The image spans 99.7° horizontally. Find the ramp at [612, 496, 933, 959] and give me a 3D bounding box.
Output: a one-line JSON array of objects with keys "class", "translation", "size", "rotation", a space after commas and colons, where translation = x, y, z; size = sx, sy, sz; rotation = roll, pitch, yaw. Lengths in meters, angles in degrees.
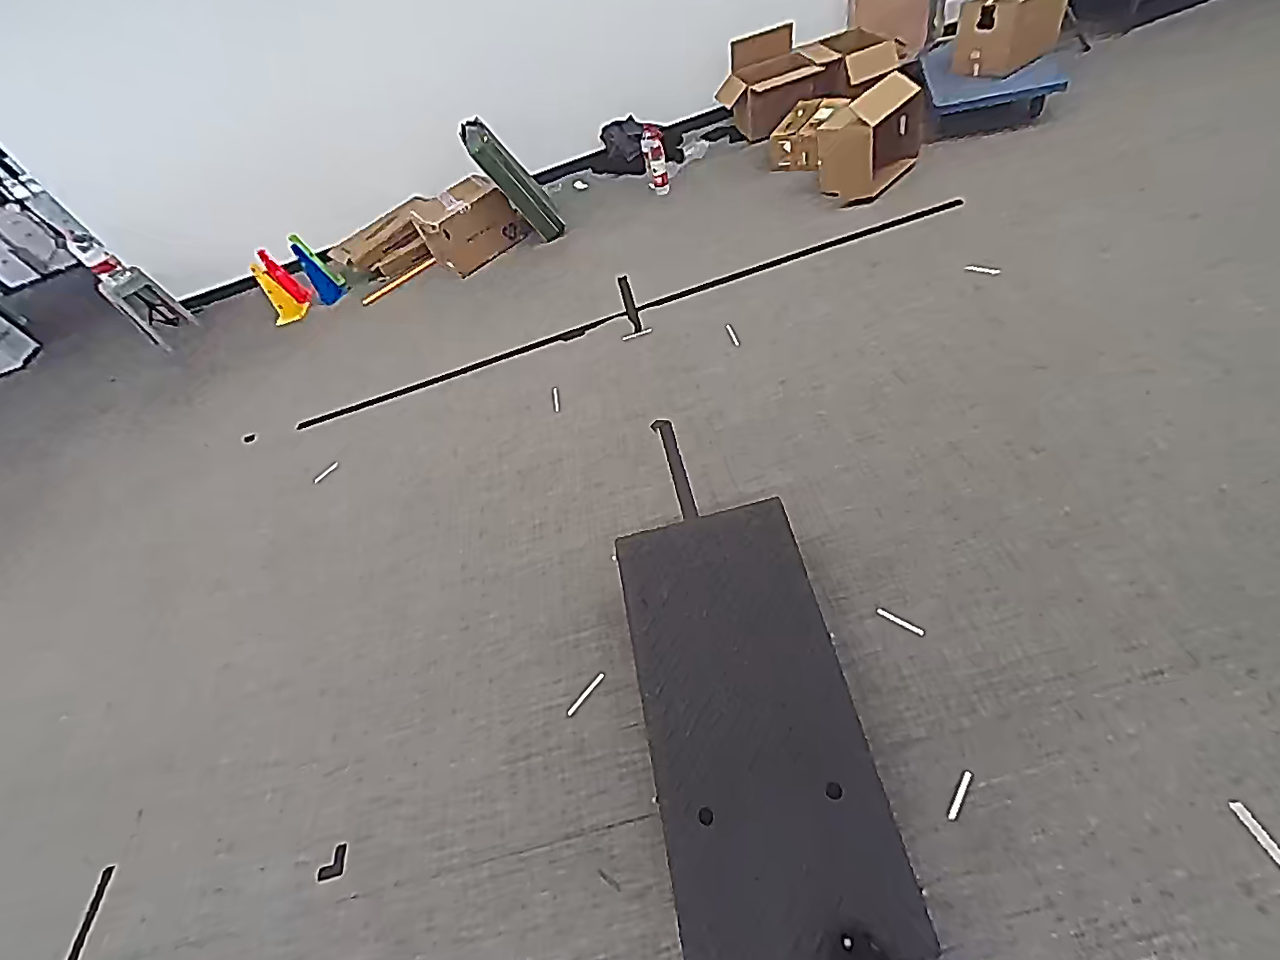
[{"class": "ramp", "translation": [0.243, 0.529, 1.297], "size": [0.509, 0.206, 0.991], "rotation": [-16, 50, 4]}]
